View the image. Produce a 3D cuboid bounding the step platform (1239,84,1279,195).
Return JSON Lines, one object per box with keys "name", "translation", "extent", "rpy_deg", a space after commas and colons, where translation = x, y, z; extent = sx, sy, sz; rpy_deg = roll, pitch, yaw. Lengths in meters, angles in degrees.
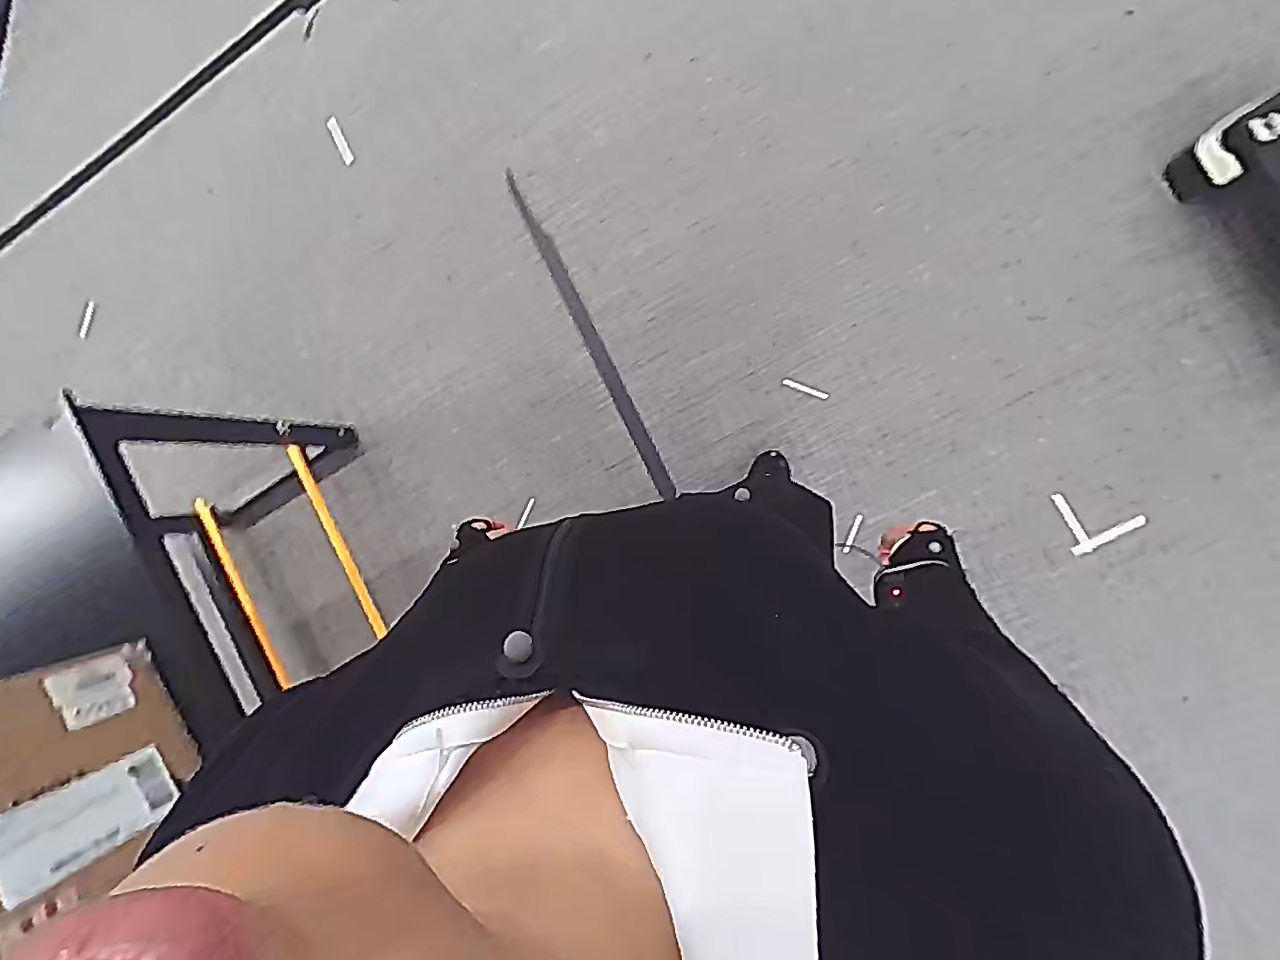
{"name": "step platform", "translation": [1.404, -0.481, 0.927], "extent": [0.286, 0.204, 0.684], "rpy_deg": [-30, 87, 9]}
